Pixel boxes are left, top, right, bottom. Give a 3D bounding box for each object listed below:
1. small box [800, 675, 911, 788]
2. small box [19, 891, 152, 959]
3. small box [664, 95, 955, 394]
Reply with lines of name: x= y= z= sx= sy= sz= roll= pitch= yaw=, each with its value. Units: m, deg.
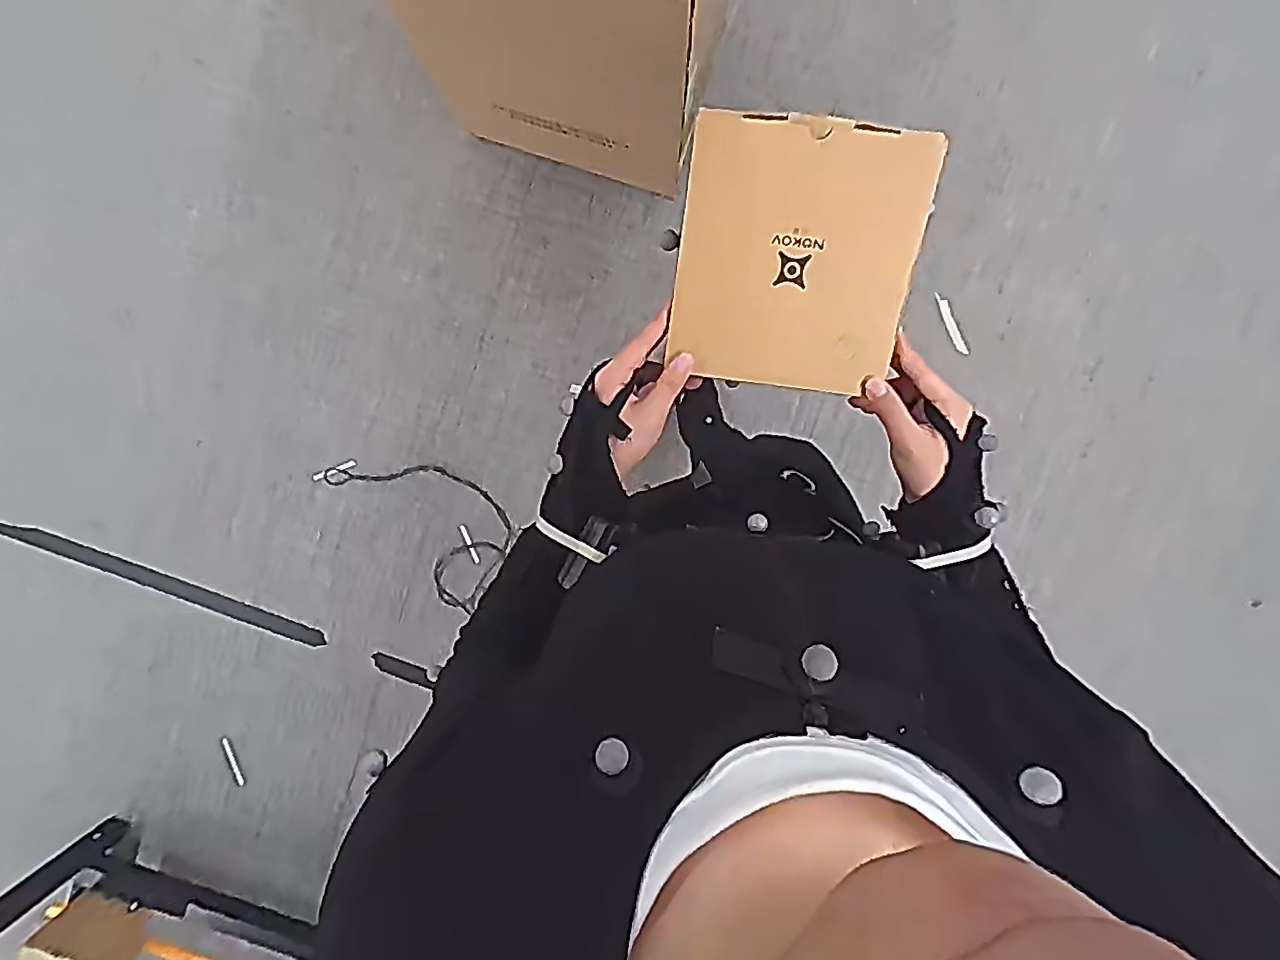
small box: x=0.513 y=0.601 z=1.314 sx=0.179 sy=0.176 sz=0.168 roll=17 pitch=95 yaw=1
small box: x=-1.346 y=1.155 z=1.311 sx=0.168 sy=0.176 sz=0.179 roll=20 pitch=96 yaw=-1
small box: x=0.116 y=-0.179 z=0.444 sx=0.168 sy=0.176 sz=0.179 roll=8 pitch=108 yaw=3
